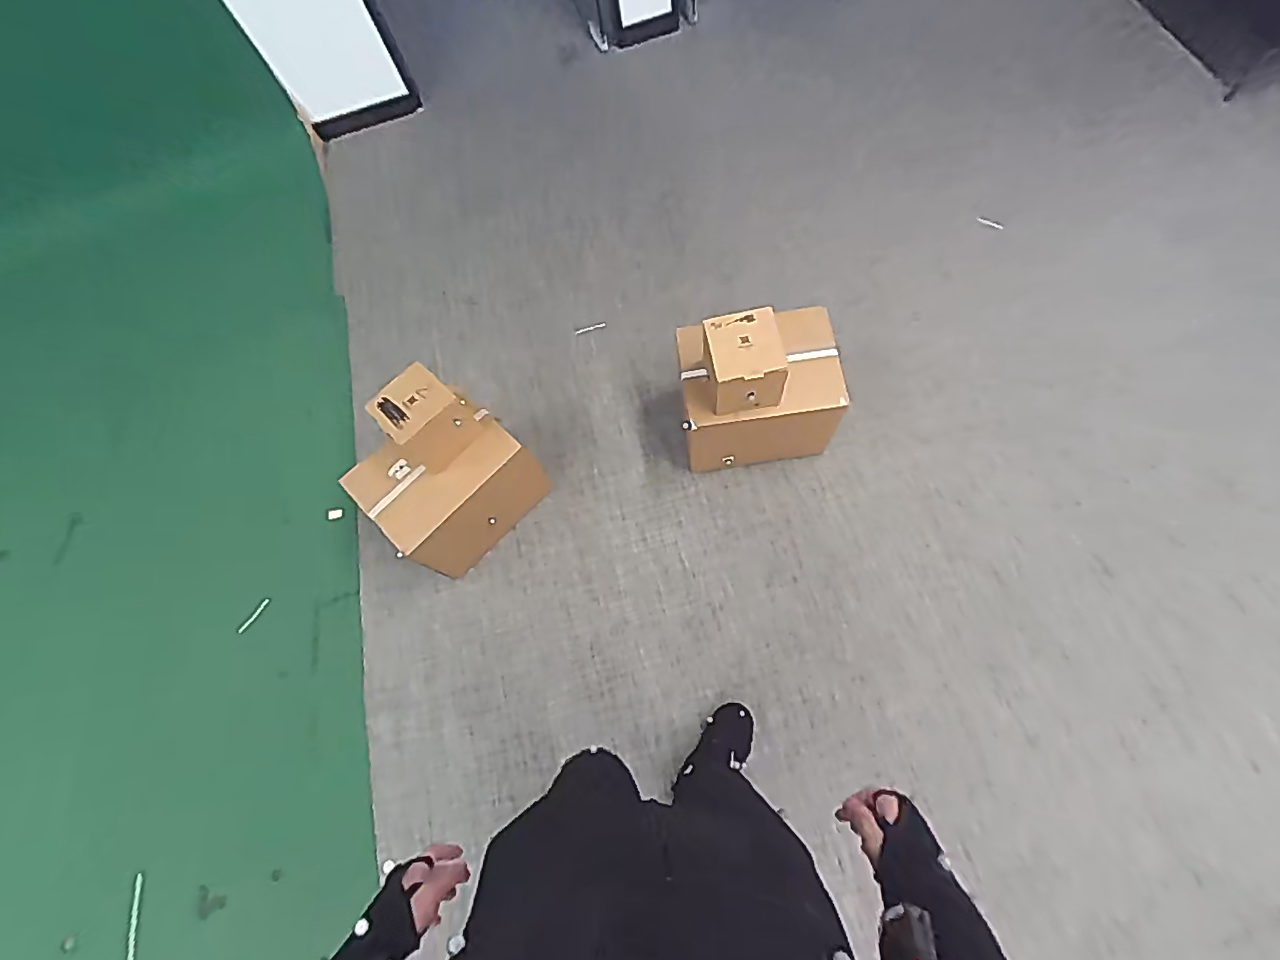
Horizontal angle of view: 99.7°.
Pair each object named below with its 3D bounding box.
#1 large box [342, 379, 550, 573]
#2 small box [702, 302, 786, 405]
[{"bbox_3d":[-0.534,-0.001,1.559,0.320,0.320,0.408,40,80,19],"label":"large box"},{"bbox_3d":[0.246,-0.295,1.310,0.168,0.176,0.179,-10,70,3],"label":"small box"}]
